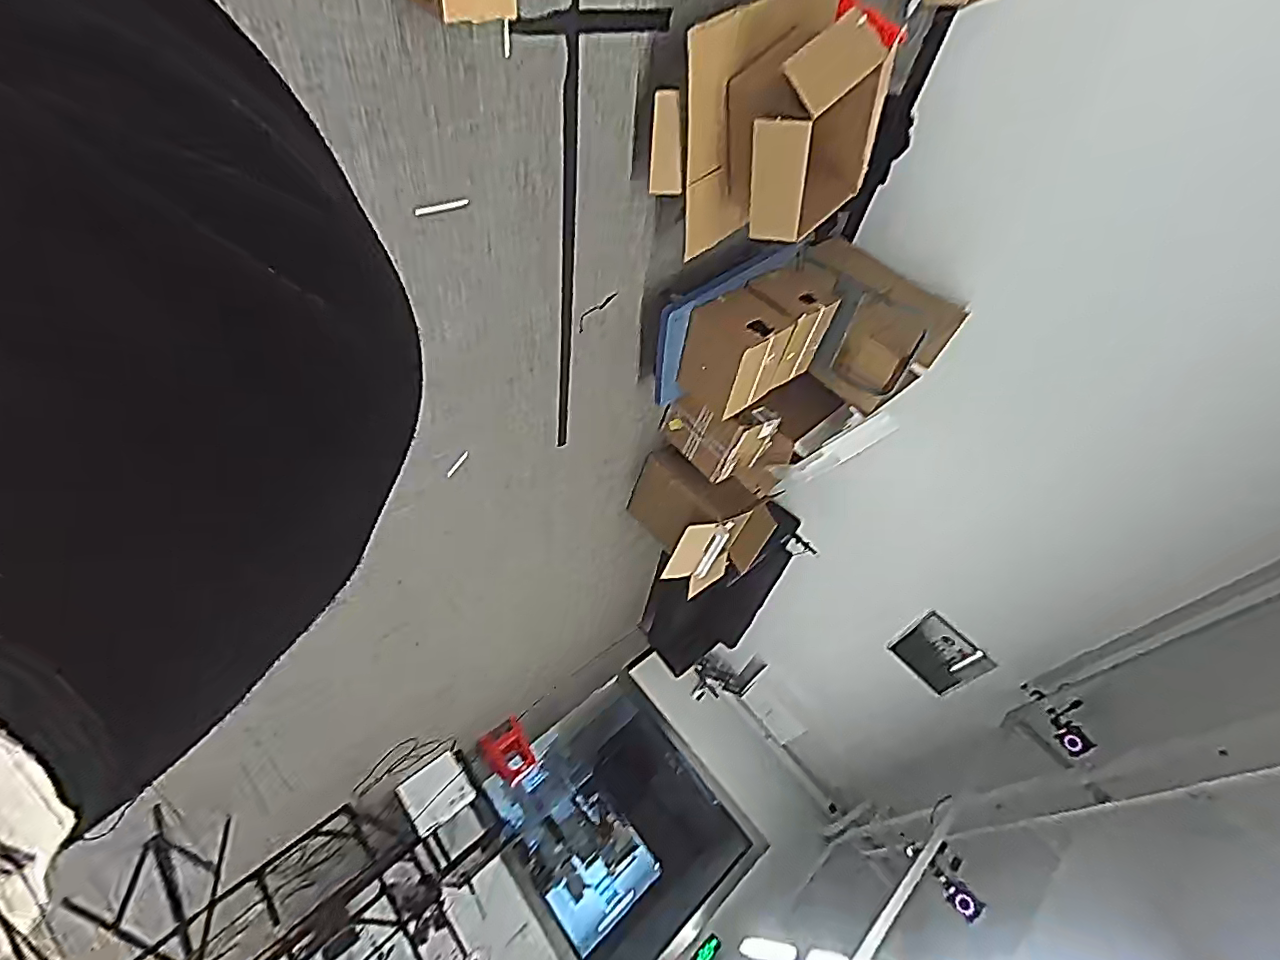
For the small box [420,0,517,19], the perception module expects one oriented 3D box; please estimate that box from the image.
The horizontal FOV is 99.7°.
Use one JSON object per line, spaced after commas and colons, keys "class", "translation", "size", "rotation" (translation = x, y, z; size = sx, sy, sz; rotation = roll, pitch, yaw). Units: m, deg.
{"class": "small box", "translation": [-0.356, -1.023, 1.037], "size": [0.168, 0.176, 0.179], "rotation": [-32, 154, -28]}
